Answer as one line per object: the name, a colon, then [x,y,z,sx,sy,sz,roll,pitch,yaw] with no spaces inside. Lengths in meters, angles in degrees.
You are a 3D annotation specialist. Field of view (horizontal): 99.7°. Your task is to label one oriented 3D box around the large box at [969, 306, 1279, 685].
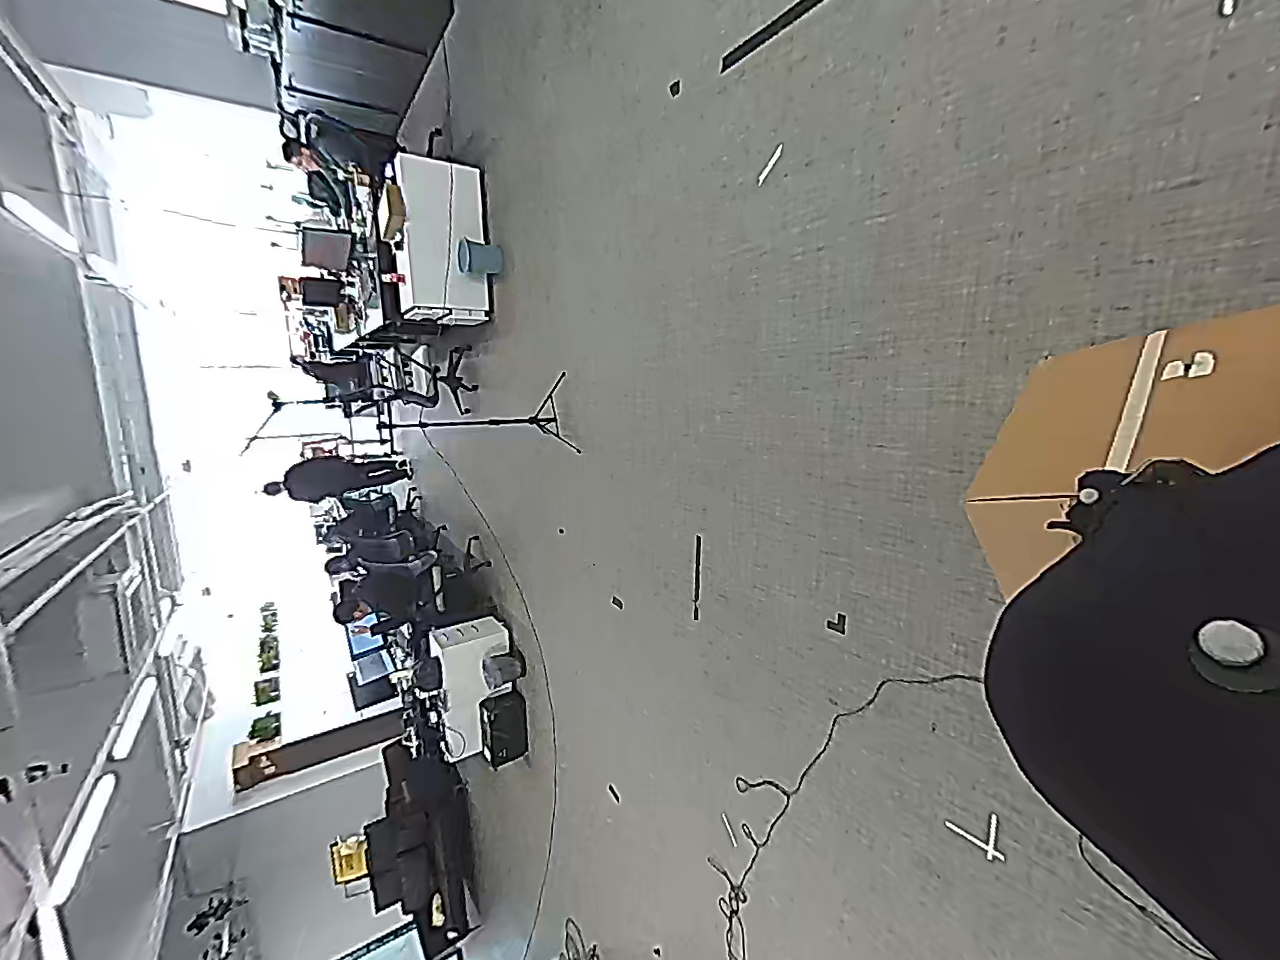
large box: [0.741,0.016,0.763,0.320,0.408,0.320,-6,121,55]
